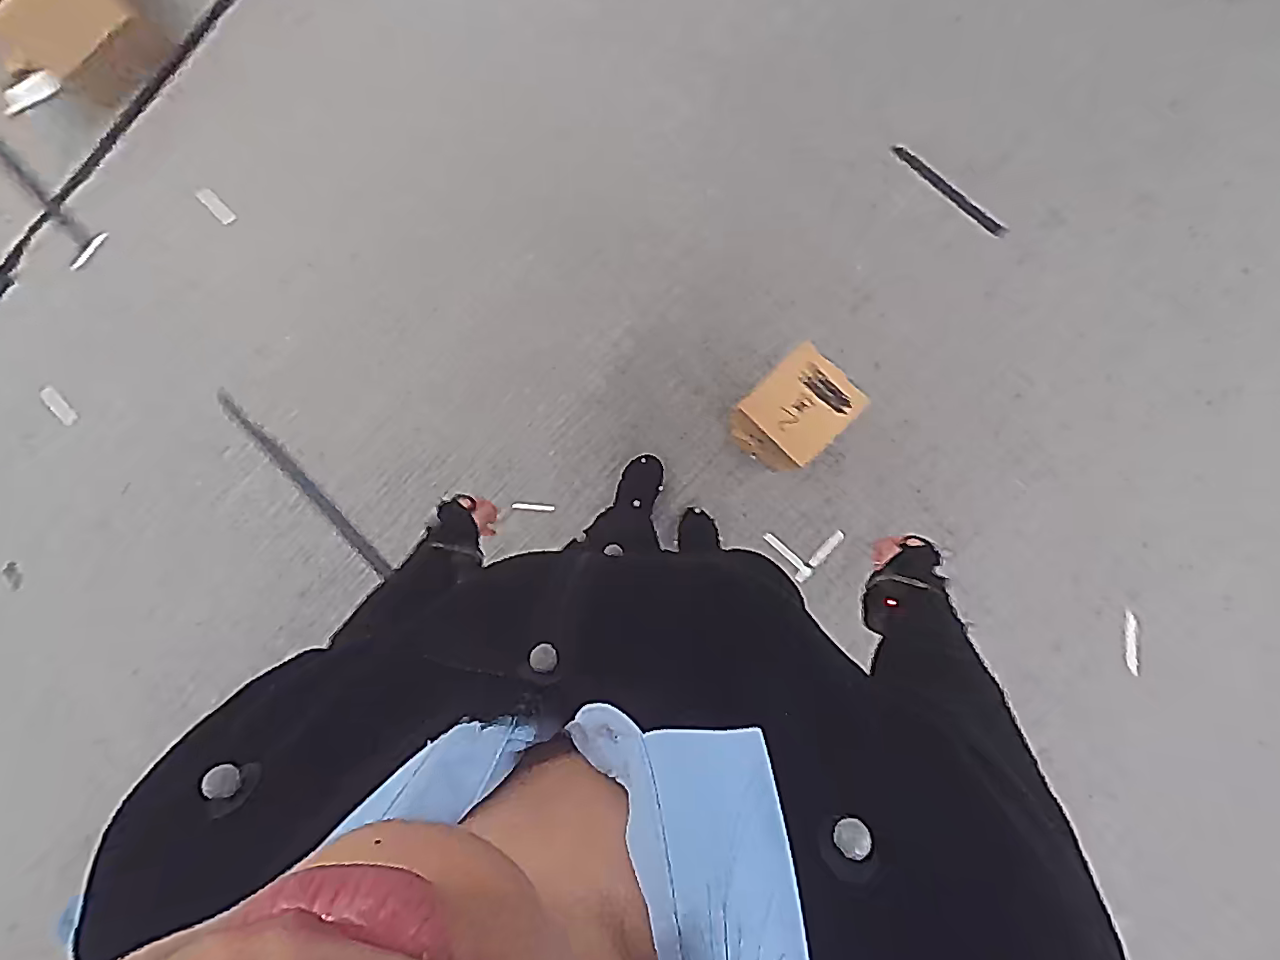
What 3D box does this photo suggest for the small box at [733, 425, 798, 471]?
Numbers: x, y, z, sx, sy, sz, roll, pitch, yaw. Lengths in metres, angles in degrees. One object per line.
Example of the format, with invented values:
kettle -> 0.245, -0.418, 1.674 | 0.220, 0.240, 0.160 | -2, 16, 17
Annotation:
small box -> 0.349, -0.139, 1.384 | 0.168, 0.176, 0.179 | 33, 92, 6

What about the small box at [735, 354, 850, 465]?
small box -> 0.332, -0.152, 1.222 | 0.179, 0.176, 0.168 | -45, 85, 4
